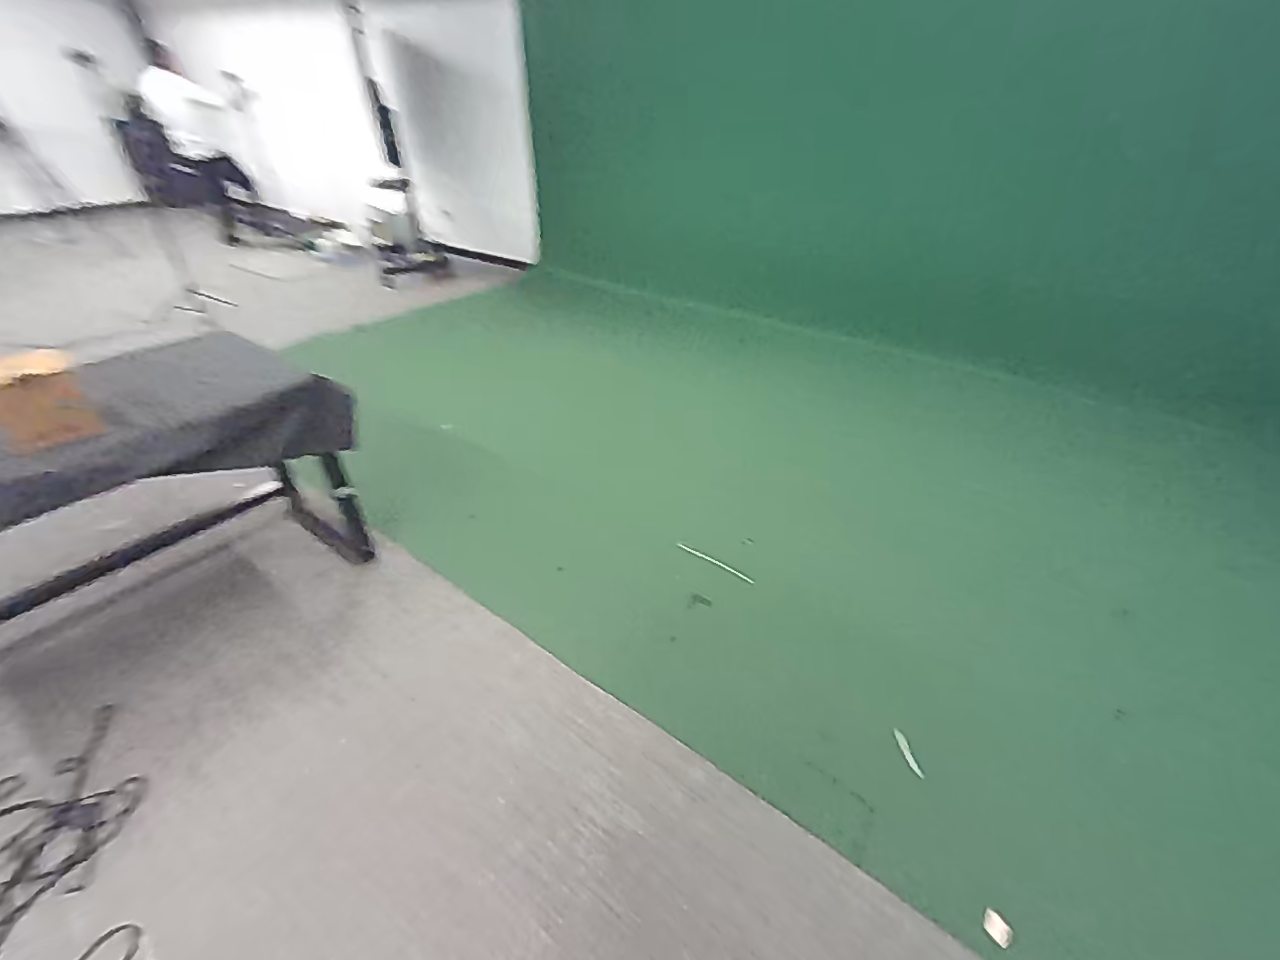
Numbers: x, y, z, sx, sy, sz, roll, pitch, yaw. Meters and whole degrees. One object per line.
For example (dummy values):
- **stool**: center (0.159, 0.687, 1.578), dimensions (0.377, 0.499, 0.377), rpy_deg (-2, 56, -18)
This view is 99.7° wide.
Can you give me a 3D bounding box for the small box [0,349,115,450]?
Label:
- **small box**: center (-1.397, -0.189, 1.275), dimensions (0.179, 0.176, 0.168), rpy_deg (25, 41, 33)
